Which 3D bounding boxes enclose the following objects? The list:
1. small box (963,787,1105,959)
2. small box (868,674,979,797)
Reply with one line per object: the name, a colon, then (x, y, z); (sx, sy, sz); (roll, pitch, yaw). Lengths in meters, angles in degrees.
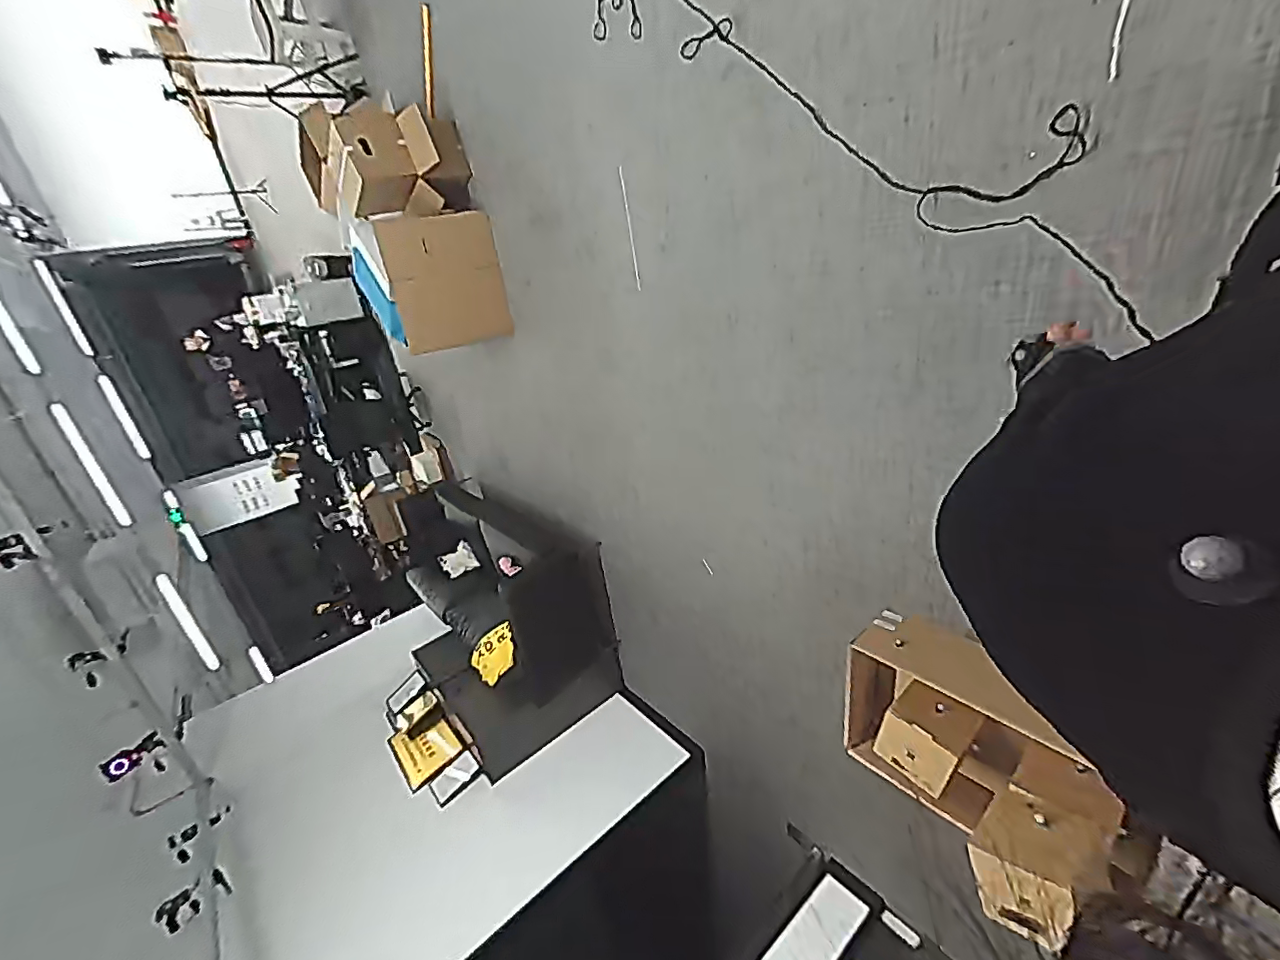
small box: (0.747, 0.735, 1.023); (0.168, 0.176, 0.179); (-4, 107, 54)
small box: (0.691, 0.611, 1.314); (0.168, 0.176, 0.179); (32, 134, 40)
